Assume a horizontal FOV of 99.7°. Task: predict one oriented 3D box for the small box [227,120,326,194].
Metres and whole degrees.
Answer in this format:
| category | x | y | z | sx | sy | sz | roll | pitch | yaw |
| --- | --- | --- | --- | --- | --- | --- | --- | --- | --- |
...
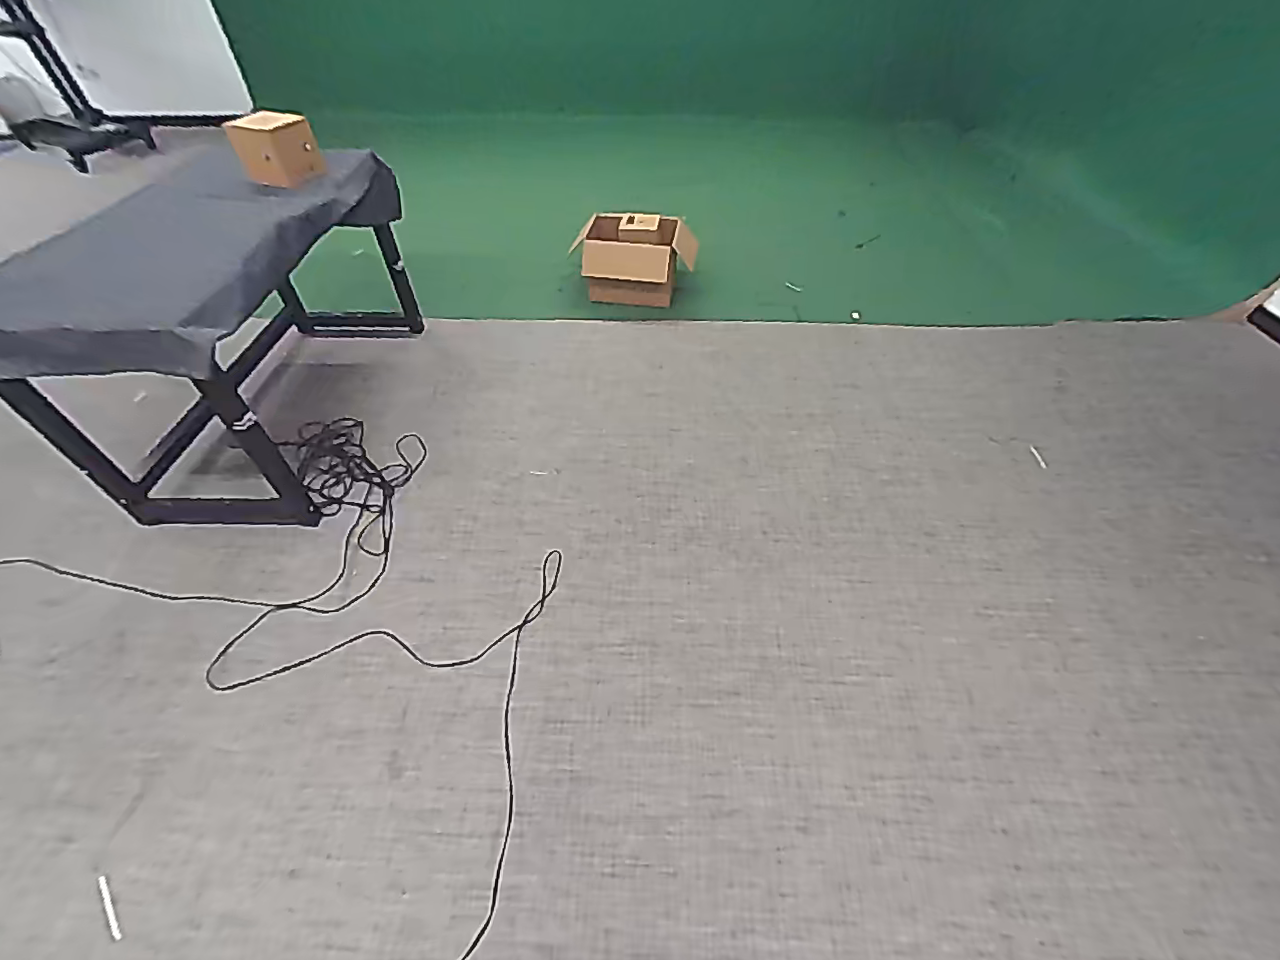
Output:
| category | x | y | z | sx | sy | sz | roll | pitch | yaw |
| --- | --- | --- | --- | --- | --- | --- | --- | --- | --- |
| small box | -1.173 | -1.052 | 1.764 | 0.179 | 0.176 | 0.168 | 14 | 47 | 14 |
